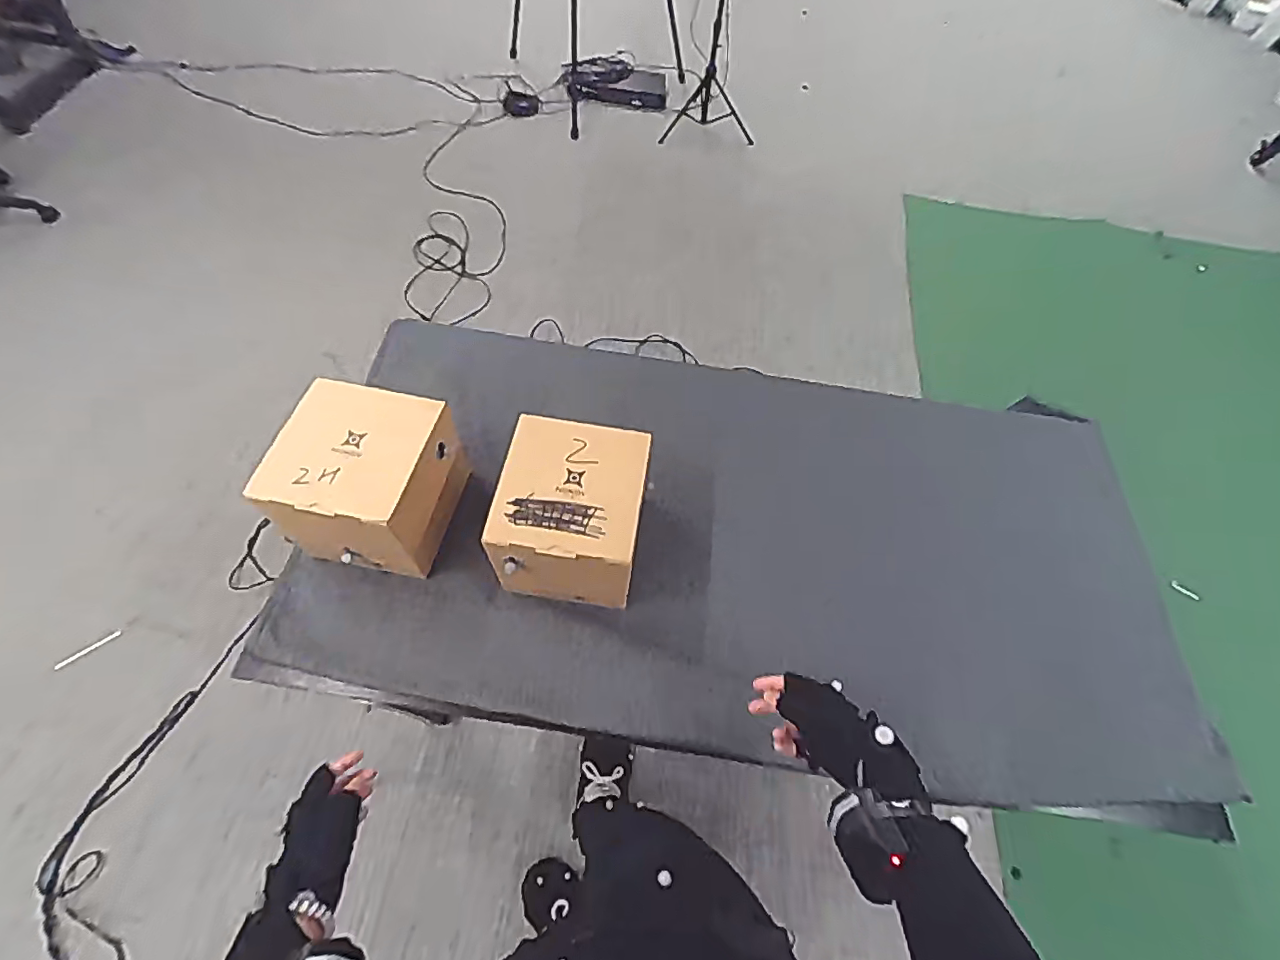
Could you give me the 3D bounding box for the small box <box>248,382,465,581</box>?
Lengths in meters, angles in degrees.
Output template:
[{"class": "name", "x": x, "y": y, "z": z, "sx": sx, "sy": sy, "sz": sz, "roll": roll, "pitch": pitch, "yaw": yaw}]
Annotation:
[{"class": "small box", "x": -0.339, "y": 0.007, "z": 0.695, "sx": 0.168, "sy": 0.176, "sz": 0.179, "roll": 11, "pitch": 59, "yaw": 2}]
